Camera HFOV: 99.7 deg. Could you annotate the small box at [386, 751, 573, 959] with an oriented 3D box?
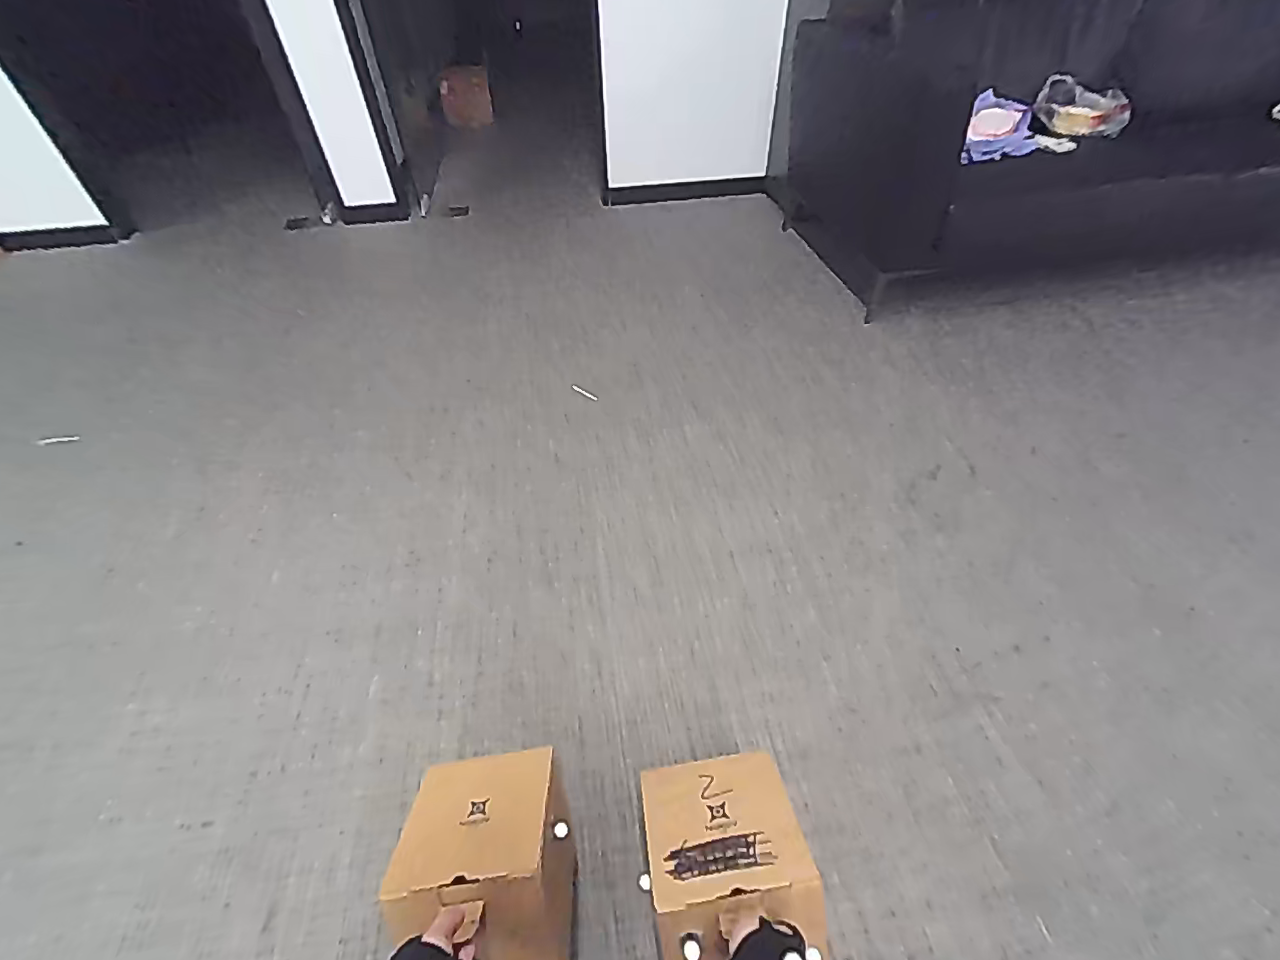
[{"bbox_3d":[-0.178,0.470,0.658,0.168,0.176,0.179,-8,16,-1],"label":"small box"}]
